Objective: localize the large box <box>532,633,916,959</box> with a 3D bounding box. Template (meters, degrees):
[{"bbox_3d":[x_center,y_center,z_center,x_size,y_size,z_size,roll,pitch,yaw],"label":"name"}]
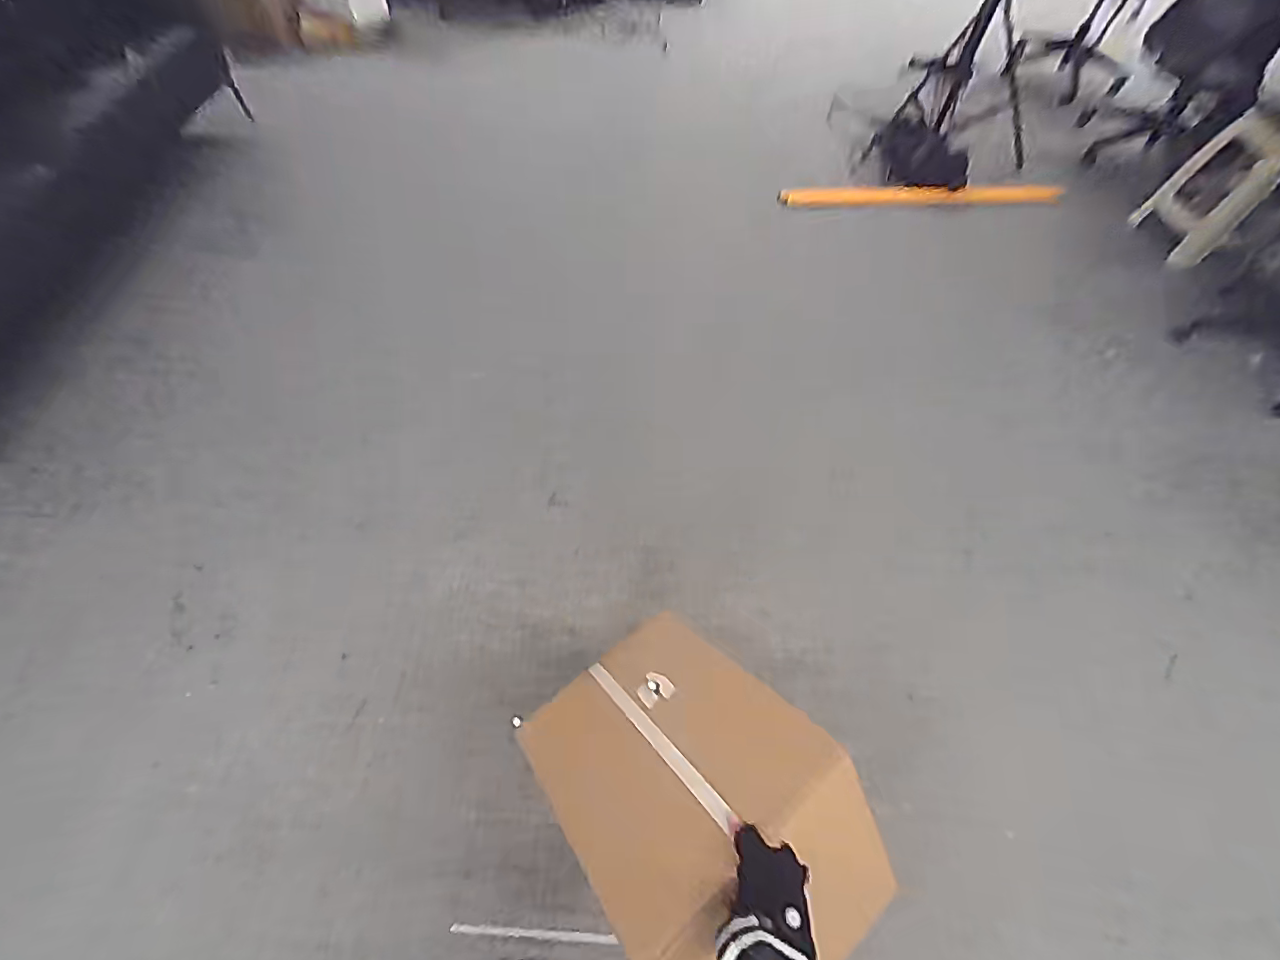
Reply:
[{"bbox_3d":[0.104,0.502,0.783,0.320,0.320,0.408,-33,24,-20],"label":"large box"}]
